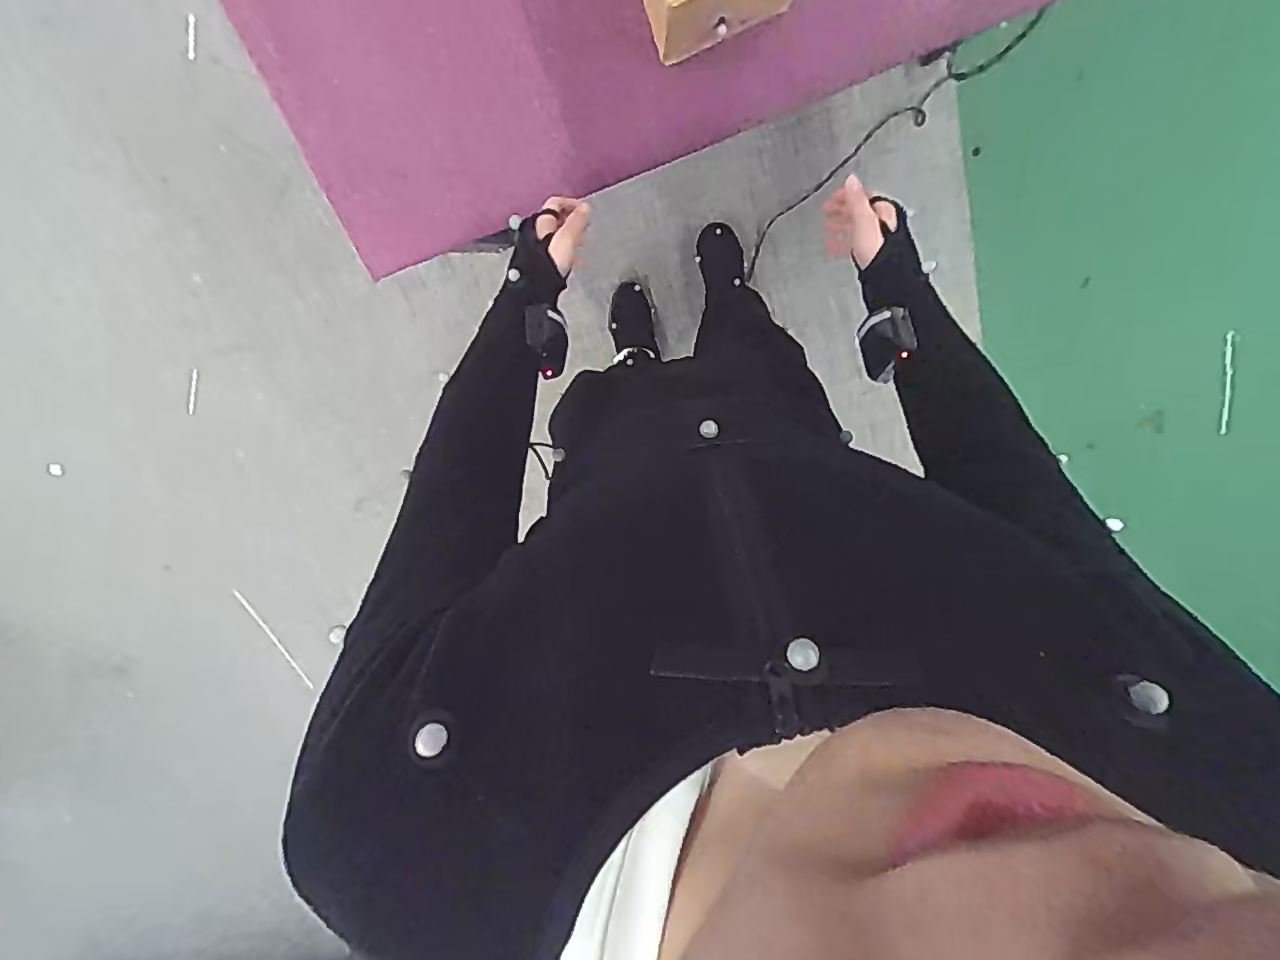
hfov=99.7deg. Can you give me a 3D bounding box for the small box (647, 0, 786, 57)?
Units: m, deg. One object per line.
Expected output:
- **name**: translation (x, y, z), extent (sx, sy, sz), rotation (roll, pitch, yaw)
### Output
- **small box**: translation (0.076, -0.601, 0.570), extent (0.168, 0.176, 0.179), rotation (-20, 111, 8)
